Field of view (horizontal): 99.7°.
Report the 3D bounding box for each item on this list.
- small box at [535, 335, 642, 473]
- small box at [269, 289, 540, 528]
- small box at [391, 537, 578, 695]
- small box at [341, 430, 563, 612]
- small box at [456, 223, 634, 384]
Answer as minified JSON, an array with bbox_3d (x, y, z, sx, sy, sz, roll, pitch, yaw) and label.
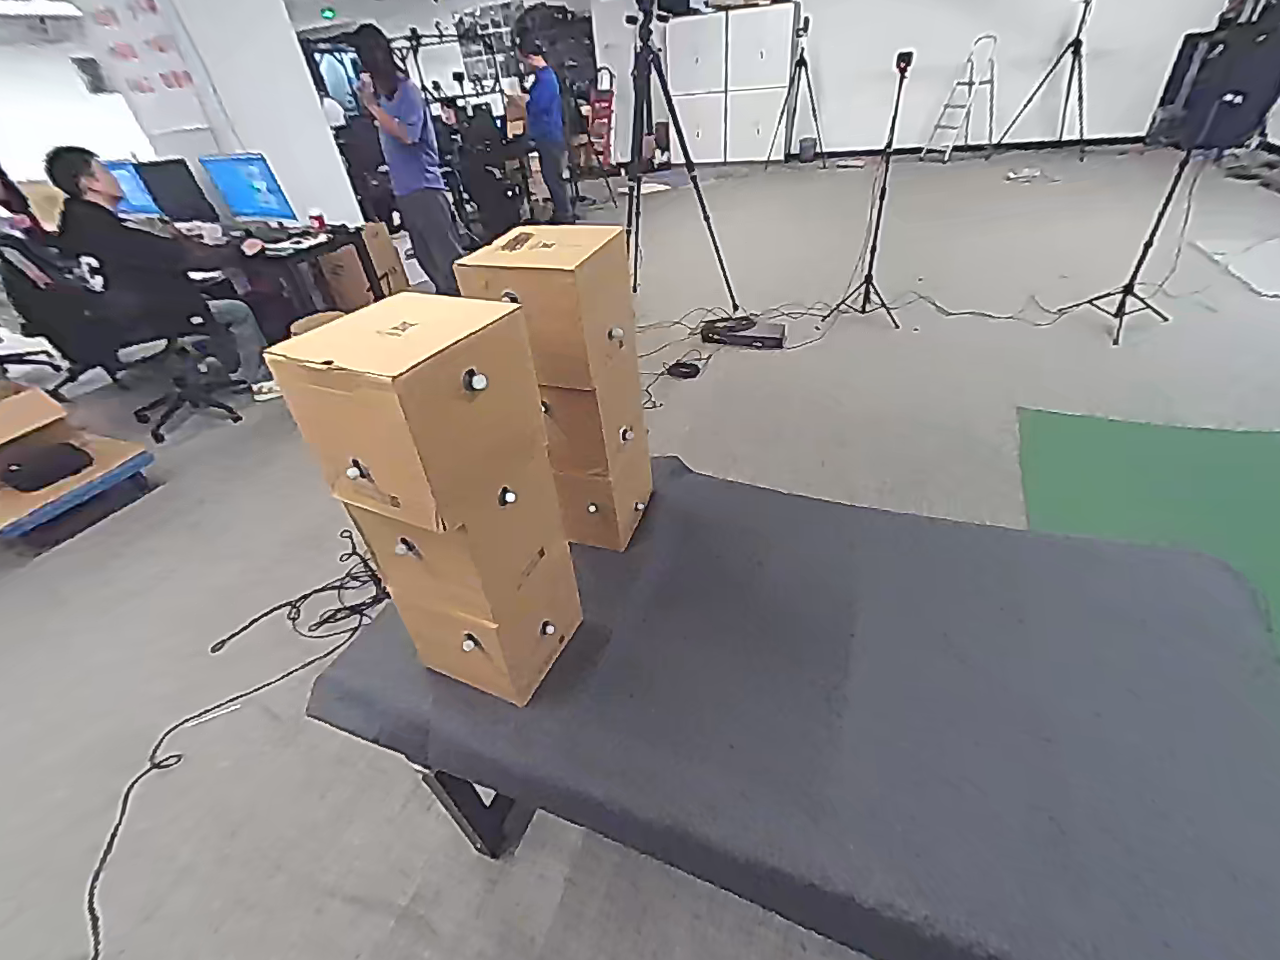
[{"bbox_3d":[-0.106,-0.130,0.877,0.179,0.176,0.168,9,43,17],"label":"small box"},{"bbox_3d":[-0.220,-0.080,0.559,0.168,0.176,0.179,14,41,22],"label":"small box"},{"bbox_3d":[-0.204,0.173,0.765,0.179,0.176,0.168,13,39,22],"label":"small box"},{"bbox_3d":[-0.218,0.039,0.672,0.179,0.176,0.168,9,39,20],"label":"small box"},{"bbox_3d":[-0.121,-0.251,0.766,0.179,0.176,0.168,11,43,19],"label":"small box"}]
